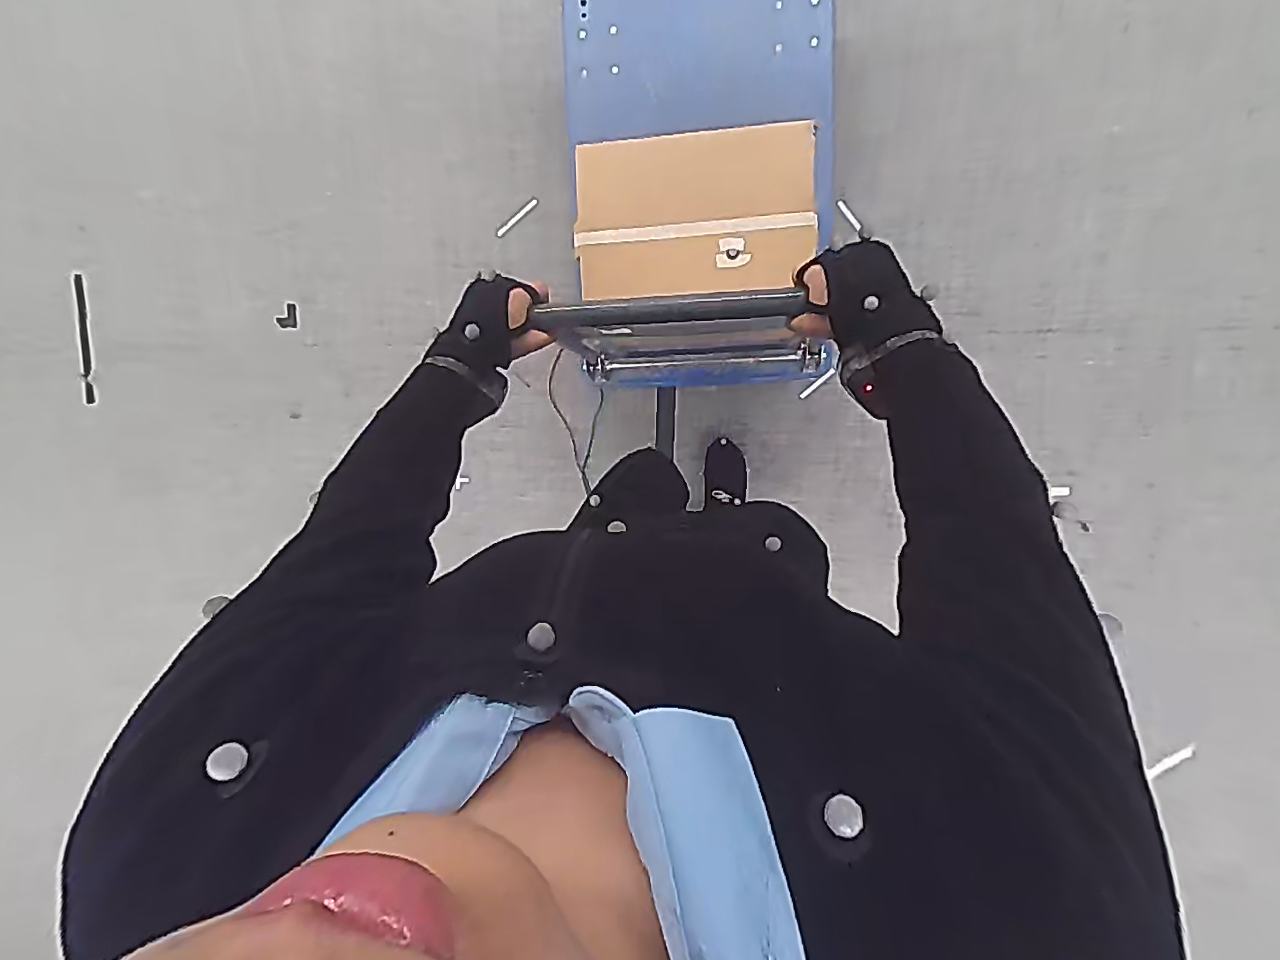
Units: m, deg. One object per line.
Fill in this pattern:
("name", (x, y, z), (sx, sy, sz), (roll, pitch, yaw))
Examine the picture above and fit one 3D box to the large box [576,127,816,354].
("large box", (0.110, -0.431, 1.063), (0.408, 0.320, 0.320), (-1, 98, 8))
